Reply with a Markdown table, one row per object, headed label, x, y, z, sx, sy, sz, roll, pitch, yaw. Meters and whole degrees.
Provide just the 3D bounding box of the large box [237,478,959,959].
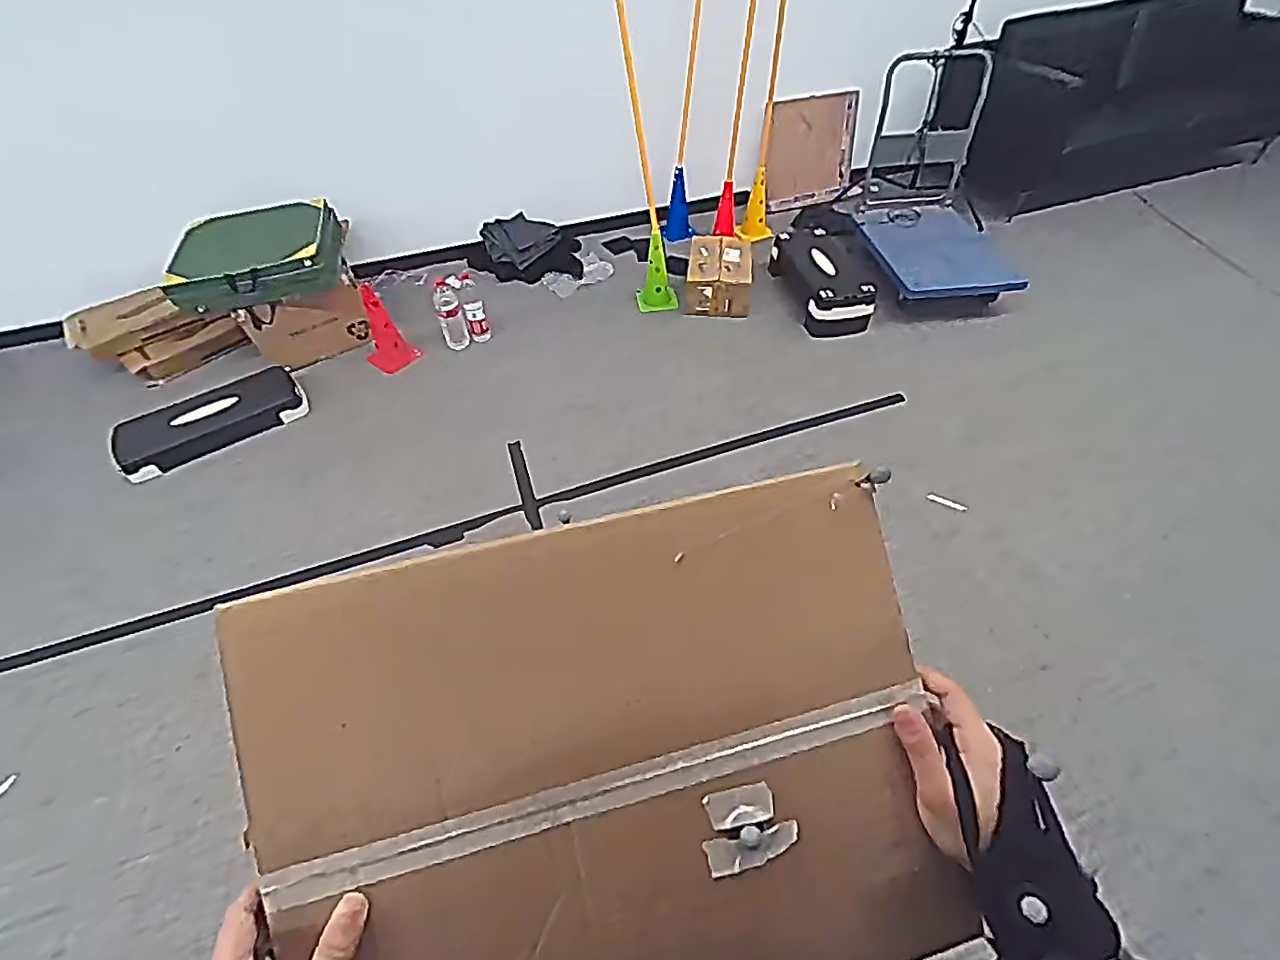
| label | x | y | z | sx | sy | sz | roll | pitch | yaw |
| --- | --- | --- | --- | --- | --- | --- | --- | --- | --- |
| large box | -0.033 | 0.205 | 0.482 | 0.408 | 0.320 | 0.320 | -13 | 88 | -10 |
